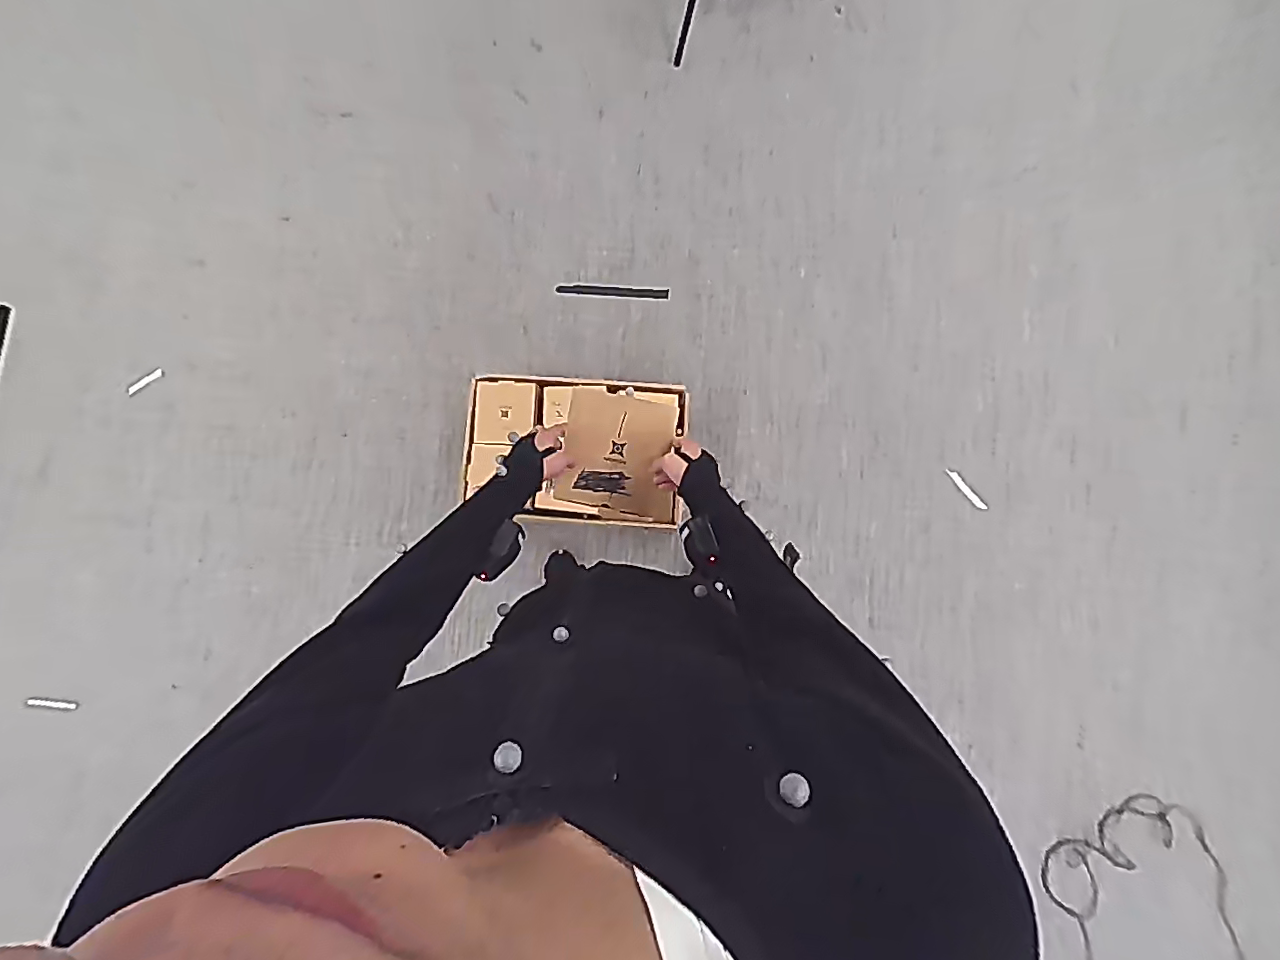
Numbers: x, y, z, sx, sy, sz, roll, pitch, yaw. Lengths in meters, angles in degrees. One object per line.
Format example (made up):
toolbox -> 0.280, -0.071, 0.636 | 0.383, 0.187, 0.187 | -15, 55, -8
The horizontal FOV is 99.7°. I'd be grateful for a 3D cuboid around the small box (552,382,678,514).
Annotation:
small box -> -0.042, -0.059, 0.898 | 0.168, 0.176, 0.179 | 11, 98, -6
